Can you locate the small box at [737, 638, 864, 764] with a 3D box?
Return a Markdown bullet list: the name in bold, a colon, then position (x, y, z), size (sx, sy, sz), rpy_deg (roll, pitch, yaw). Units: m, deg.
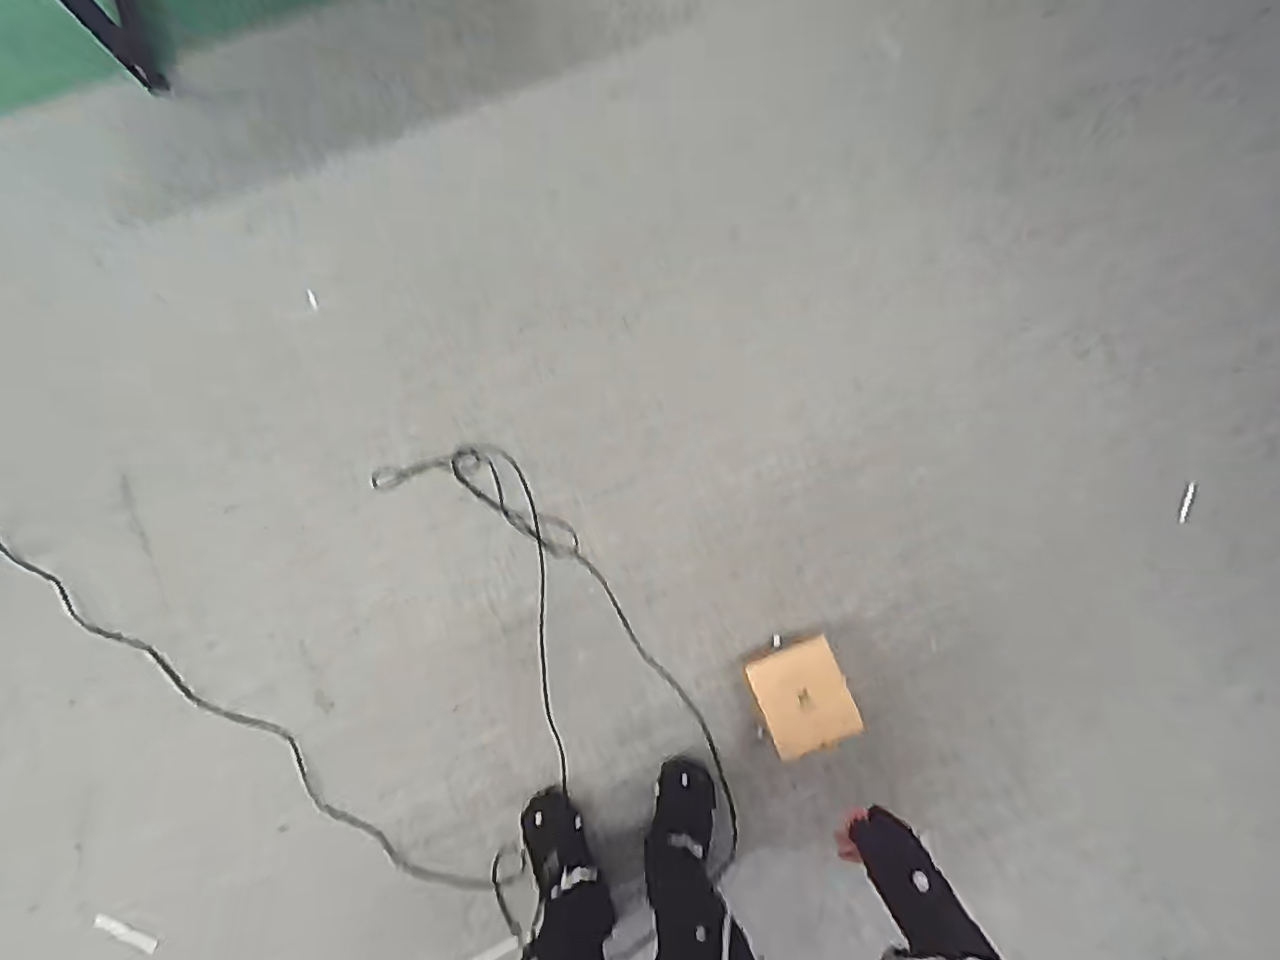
- **small box**: position (0.307, 0.426, 1.073), size (0.168, 0.176, 0.179), rpy_deg (-20, 76, -4)
